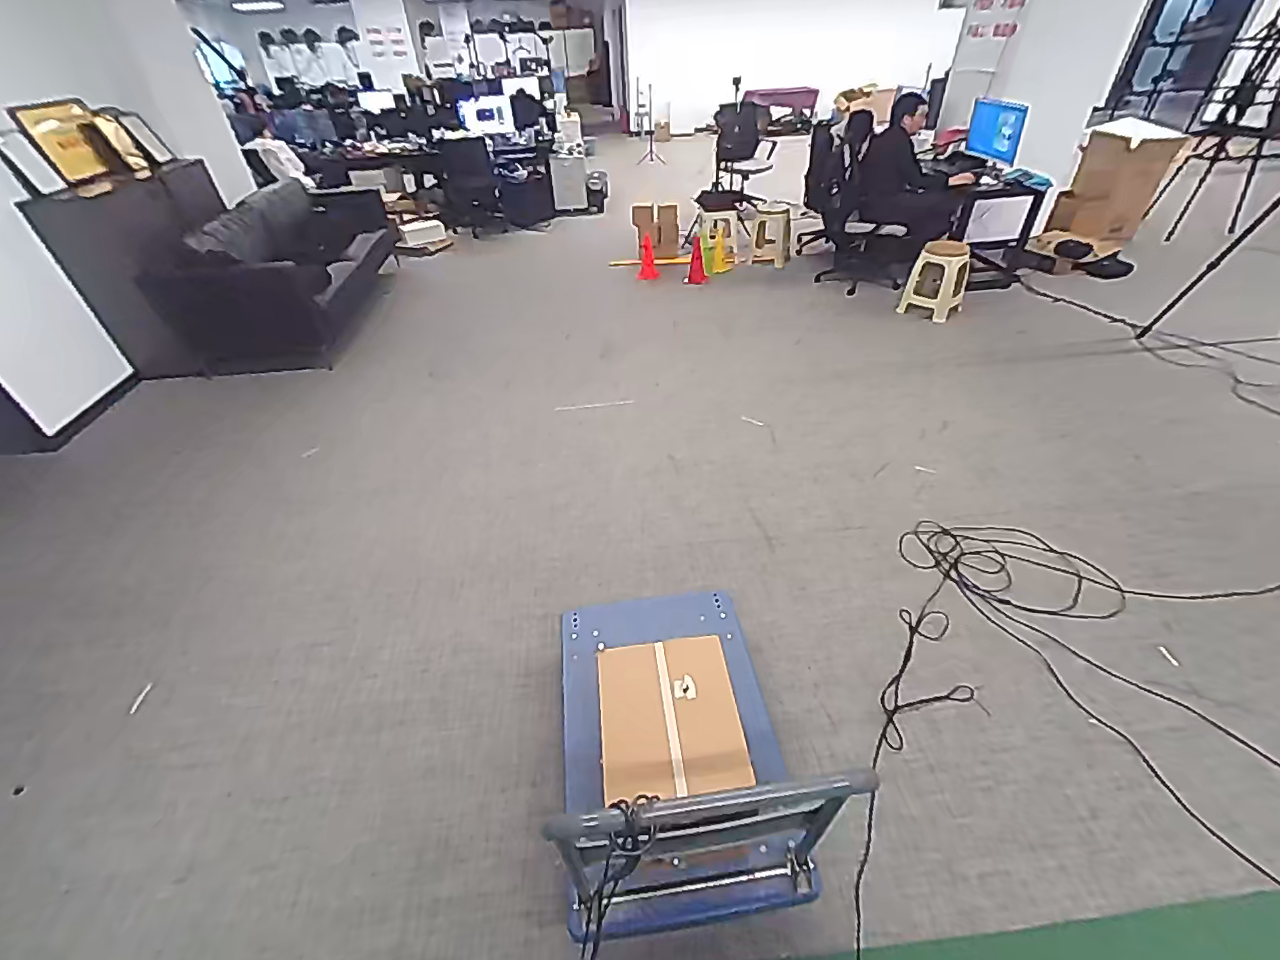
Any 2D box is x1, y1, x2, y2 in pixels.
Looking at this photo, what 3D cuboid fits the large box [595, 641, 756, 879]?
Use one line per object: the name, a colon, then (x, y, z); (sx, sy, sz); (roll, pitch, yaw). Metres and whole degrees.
large box: (0.069, 0.667, 1.314); (0.320, 0.320, 0.408); (-5, 38, -3)
